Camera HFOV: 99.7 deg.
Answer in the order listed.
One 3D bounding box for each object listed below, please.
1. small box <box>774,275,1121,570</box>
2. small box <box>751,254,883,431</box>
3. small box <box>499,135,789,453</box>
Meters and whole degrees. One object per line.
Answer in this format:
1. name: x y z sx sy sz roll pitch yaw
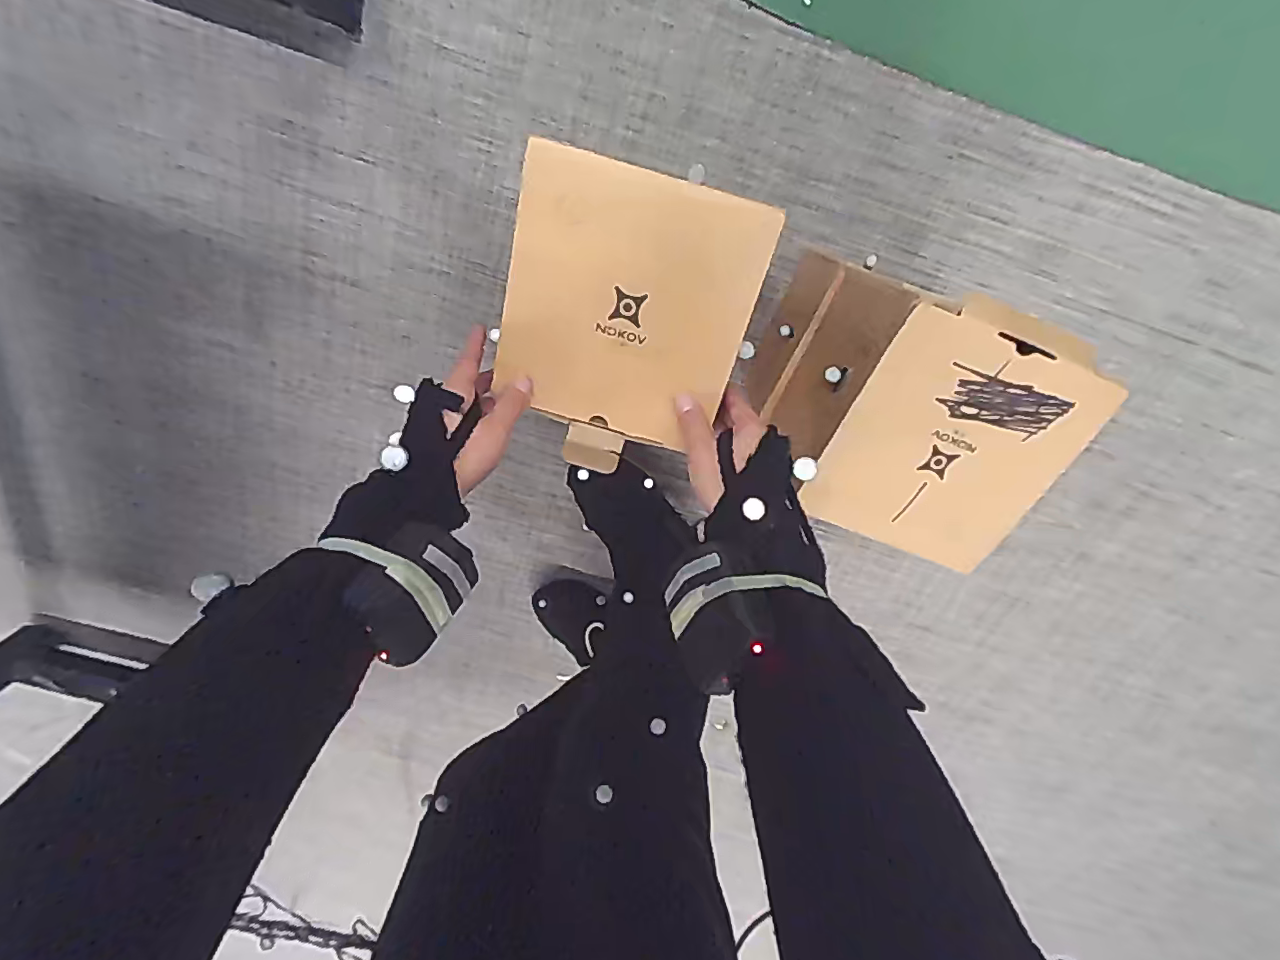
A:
1. small box: 0.232 -0.060 0.470 0.168 0.176 0.179 21 117 -5
2. small box: 0.237 -0.139 0.615 0.168 0.176 0.179 21 118 -5
3. small box: -0.001 -0.150 0.441 0.168 0.176 0.179 15 117 -4
